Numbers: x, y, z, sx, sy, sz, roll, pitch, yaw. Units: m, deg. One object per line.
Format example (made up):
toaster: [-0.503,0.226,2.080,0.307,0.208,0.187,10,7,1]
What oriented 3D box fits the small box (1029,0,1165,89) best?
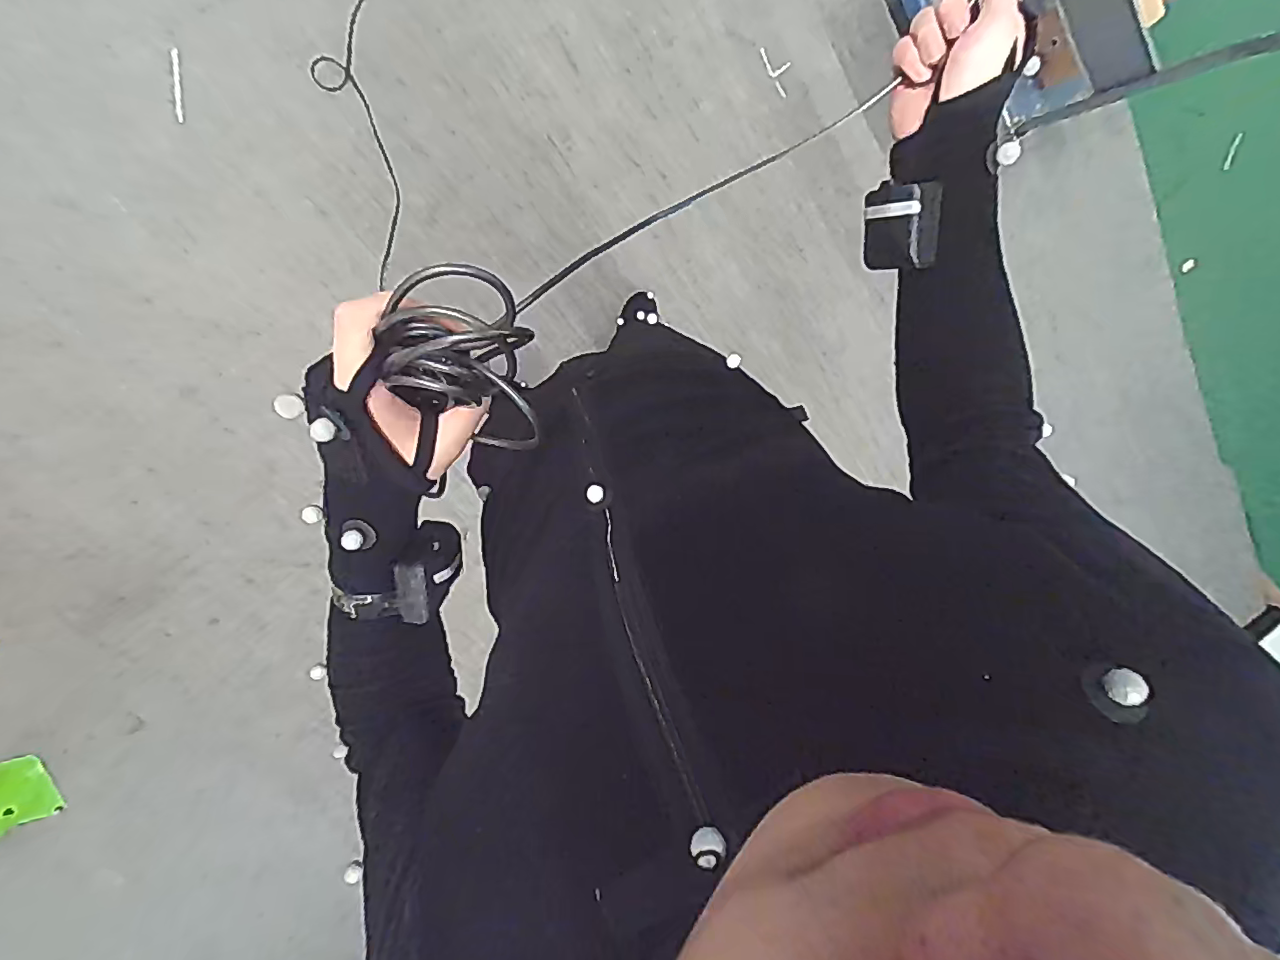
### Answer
small box: [1.119,-1.121,1.332,0.179,0.176,0.168,-39,110,1]
